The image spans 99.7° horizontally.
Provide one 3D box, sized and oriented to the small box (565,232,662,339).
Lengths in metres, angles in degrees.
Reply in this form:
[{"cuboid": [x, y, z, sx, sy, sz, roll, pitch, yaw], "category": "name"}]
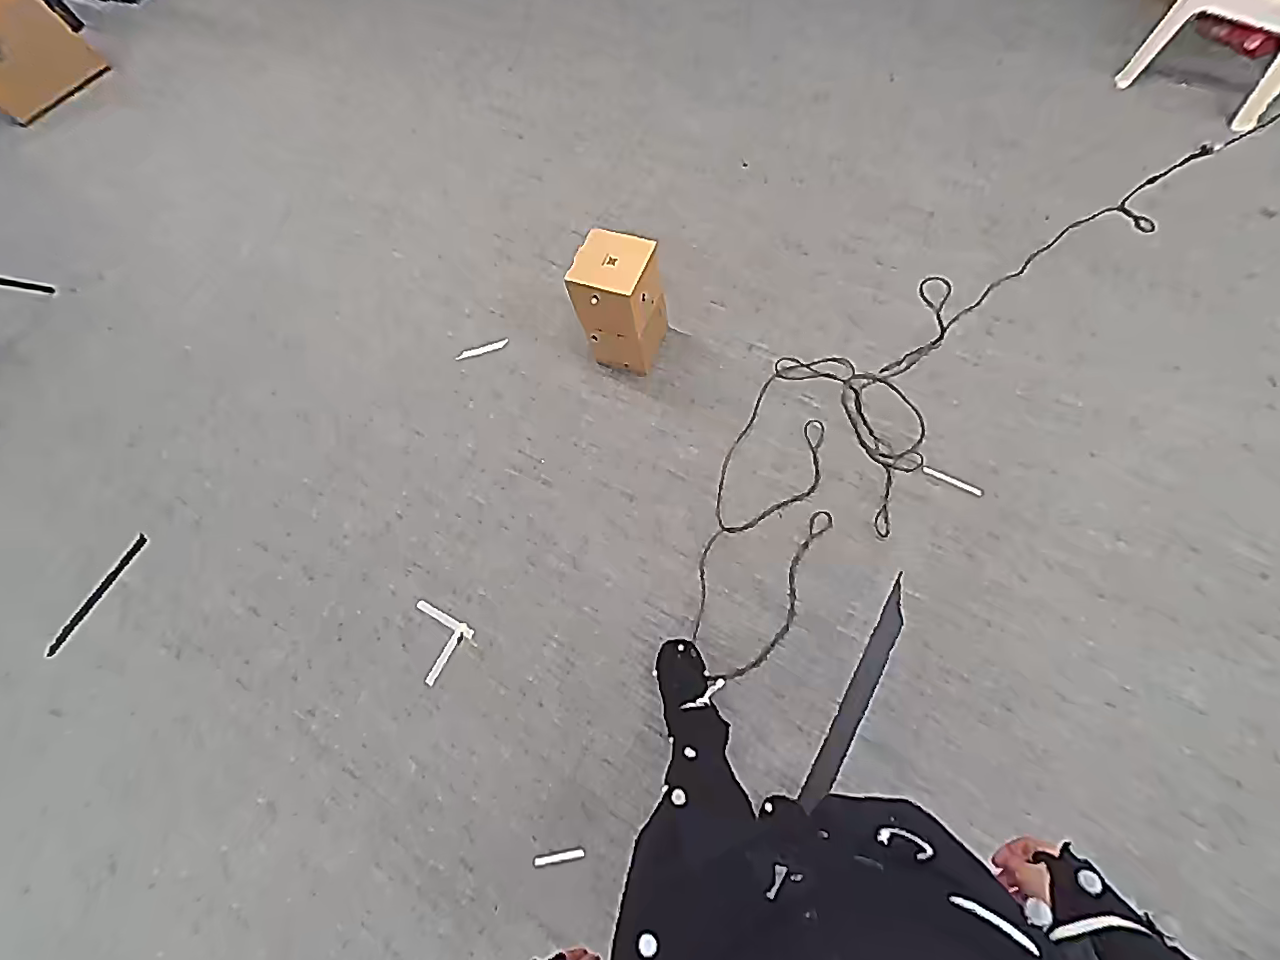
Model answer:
[{"cuboid": [-0.055, -0.474, 1.334, 0.179, 0.176, 0.168, 19, 72, 16], "category": "small box"}]
